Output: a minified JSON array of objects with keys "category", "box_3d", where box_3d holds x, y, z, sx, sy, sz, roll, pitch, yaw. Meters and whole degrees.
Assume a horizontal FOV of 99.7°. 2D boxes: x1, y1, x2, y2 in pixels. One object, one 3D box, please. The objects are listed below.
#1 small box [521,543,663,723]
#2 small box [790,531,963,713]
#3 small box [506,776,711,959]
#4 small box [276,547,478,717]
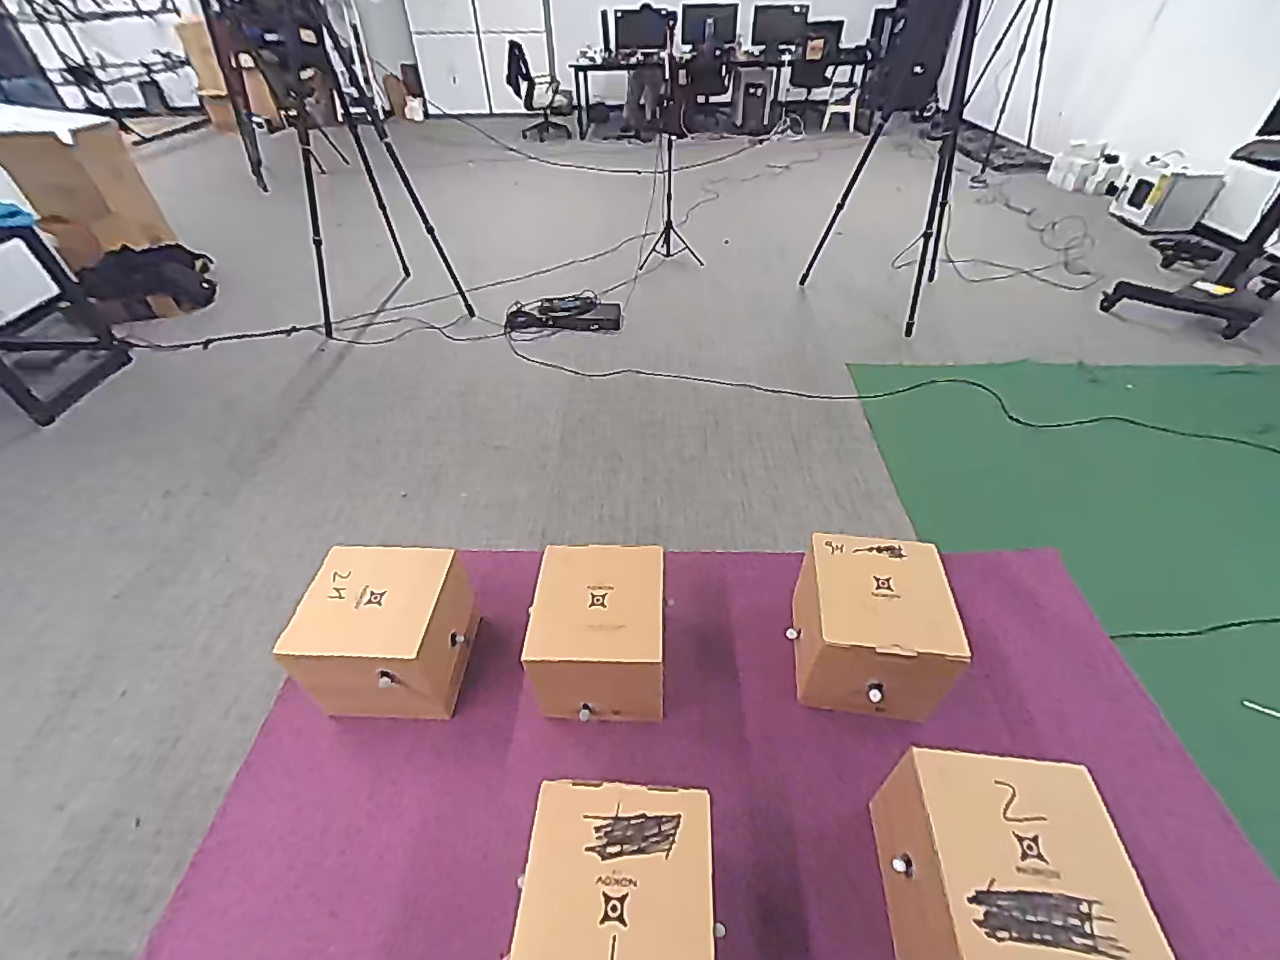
[{"category":"small box","box_3d":[-0.053,0.208,0.742,0.168,0.176,0.179,0,43,4]},{"category":"small box","box_3d":[0.304,0.195,0.737,0.168,0.176,0.179,5,44,7]},{"category":"small box","box_3d":[-0.020,0.411,0.517,0.168,0.176,0.179,1,43,4]},{"category":"small box","box_3d":[-0.341,0.211,0.748,0.179,0.176,0.168,1,43,3]}]
